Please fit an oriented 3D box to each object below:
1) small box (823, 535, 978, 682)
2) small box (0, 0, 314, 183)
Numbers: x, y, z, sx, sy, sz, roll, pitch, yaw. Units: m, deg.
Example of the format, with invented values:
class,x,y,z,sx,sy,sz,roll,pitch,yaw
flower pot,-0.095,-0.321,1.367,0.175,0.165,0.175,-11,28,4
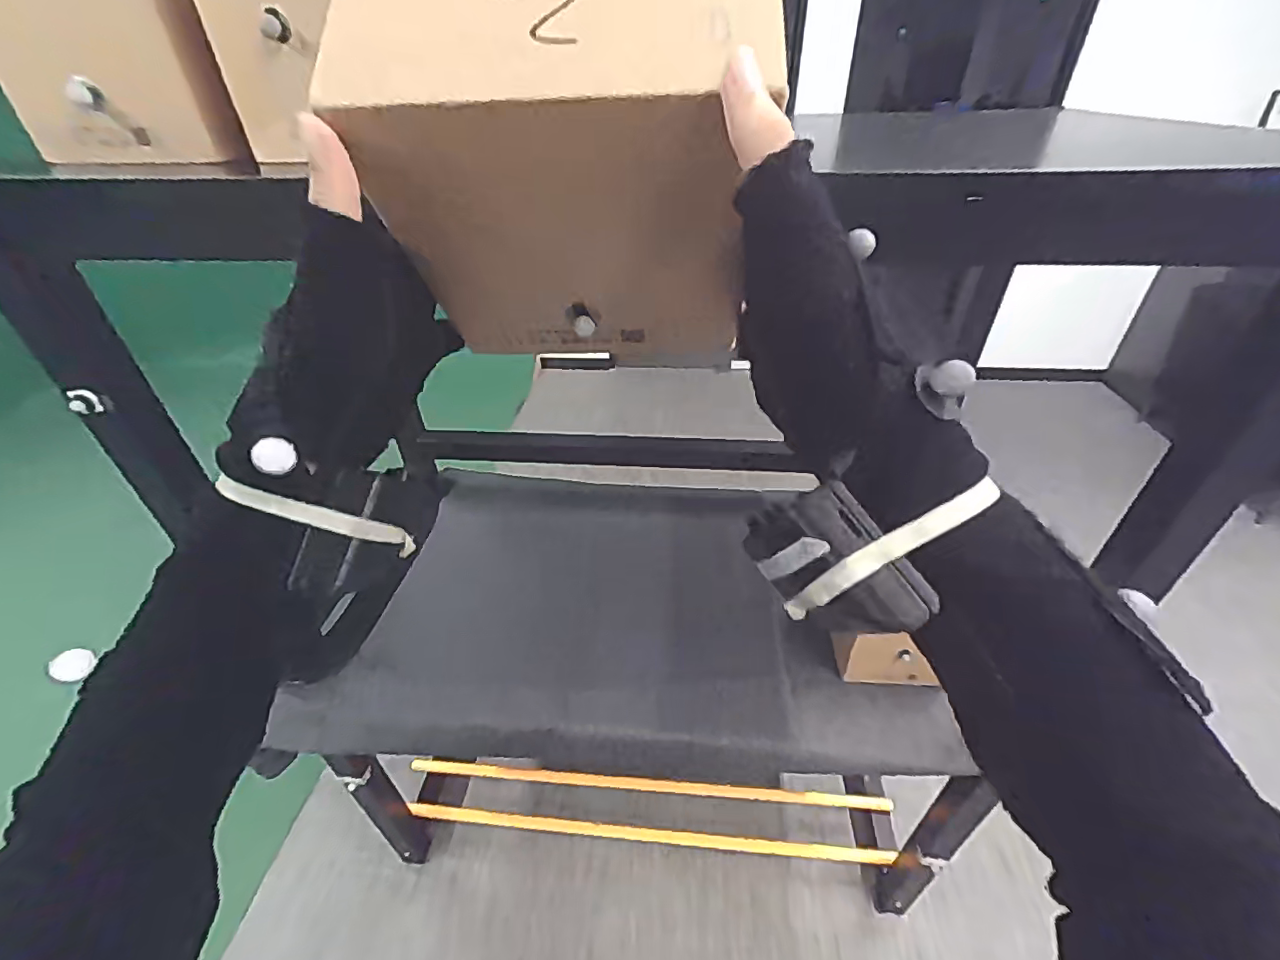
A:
class,x,y,z,sx,sy,sz,roll,pitch,yaw
small box,0.410,0.210,0.887,0.168,0.176,0.179,1,36,4
small box,-0.441,-0.385,0.502,0.168,0.176,0.179,1,38,4
